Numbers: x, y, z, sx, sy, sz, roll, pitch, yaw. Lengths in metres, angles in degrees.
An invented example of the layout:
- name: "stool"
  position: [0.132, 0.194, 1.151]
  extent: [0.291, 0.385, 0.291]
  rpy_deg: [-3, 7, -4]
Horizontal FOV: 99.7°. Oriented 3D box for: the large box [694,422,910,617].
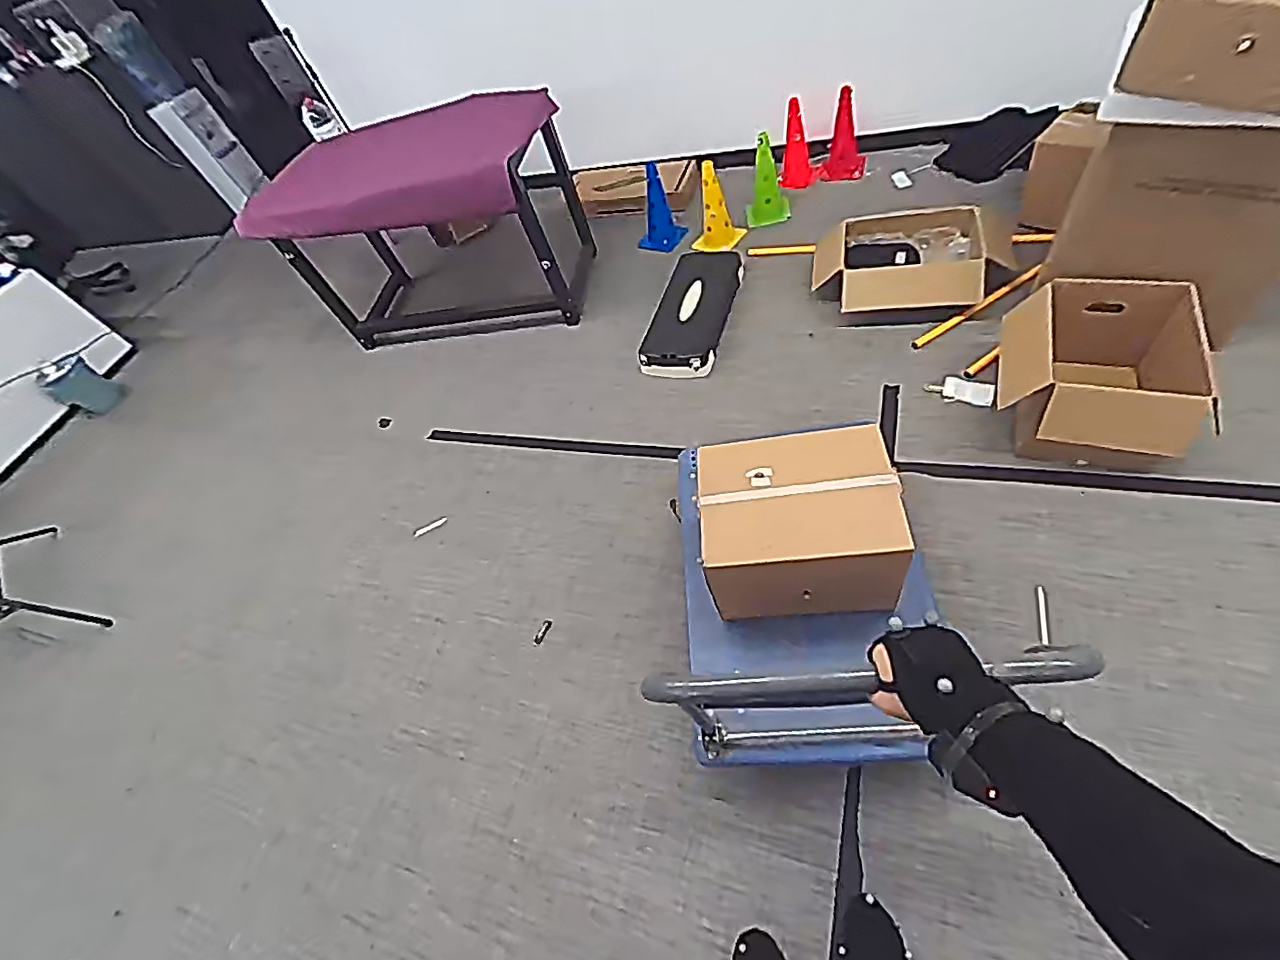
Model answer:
- name: "large box"
  position: [0.357, 0.107, 1.253]
  extent: [0.408, 0.320, 0.320]
  rpy_deg: [-8, 53, 14]
